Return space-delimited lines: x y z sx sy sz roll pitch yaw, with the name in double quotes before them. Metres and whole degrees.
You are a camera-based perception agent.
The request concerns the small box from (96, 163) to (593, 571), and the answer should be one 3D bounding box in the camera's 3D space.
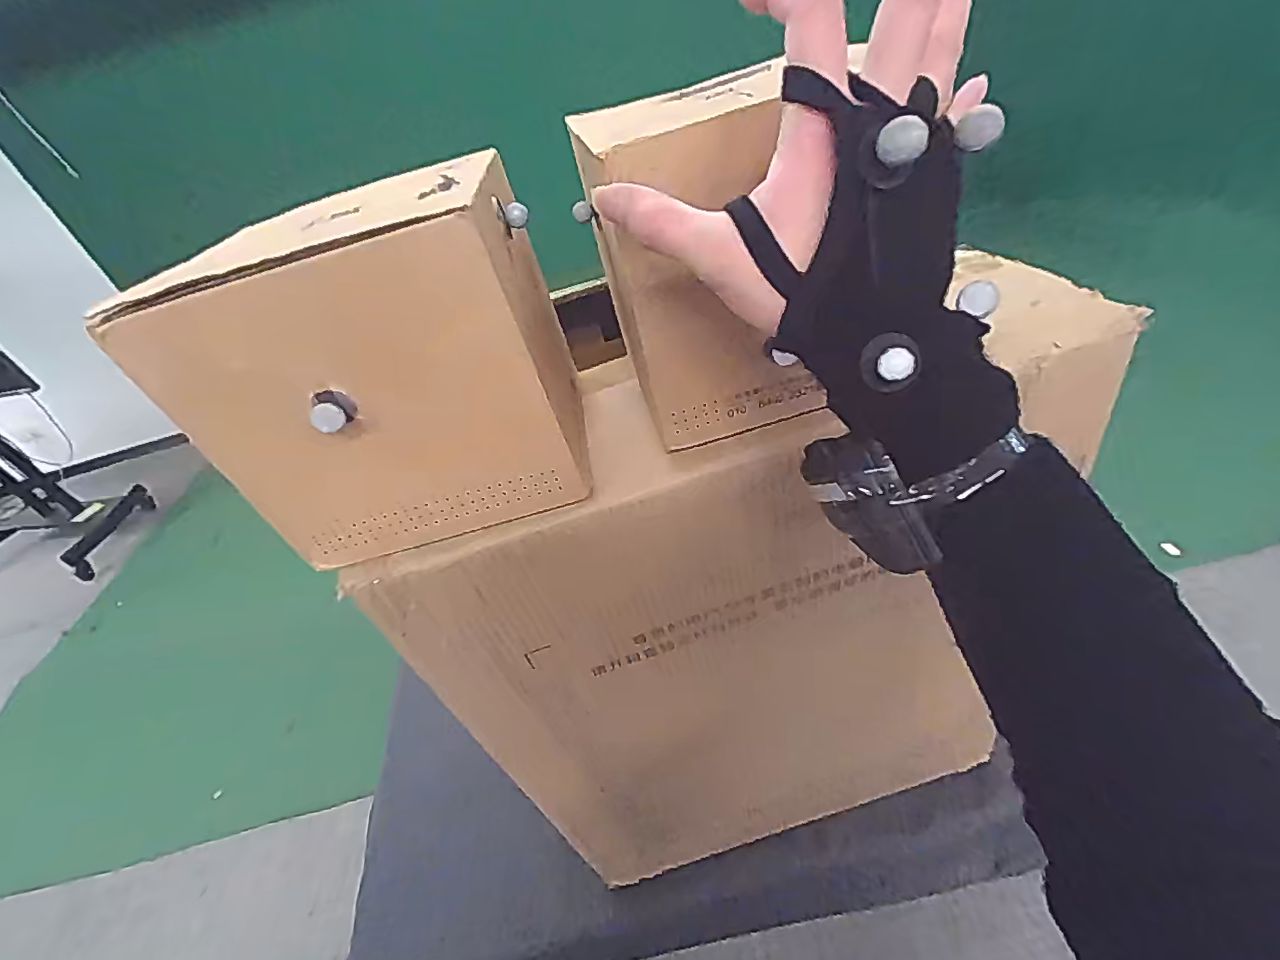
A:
"small box" -0.140 -0.068 0.335 0.179 0.176 0.168 -15 40 2
